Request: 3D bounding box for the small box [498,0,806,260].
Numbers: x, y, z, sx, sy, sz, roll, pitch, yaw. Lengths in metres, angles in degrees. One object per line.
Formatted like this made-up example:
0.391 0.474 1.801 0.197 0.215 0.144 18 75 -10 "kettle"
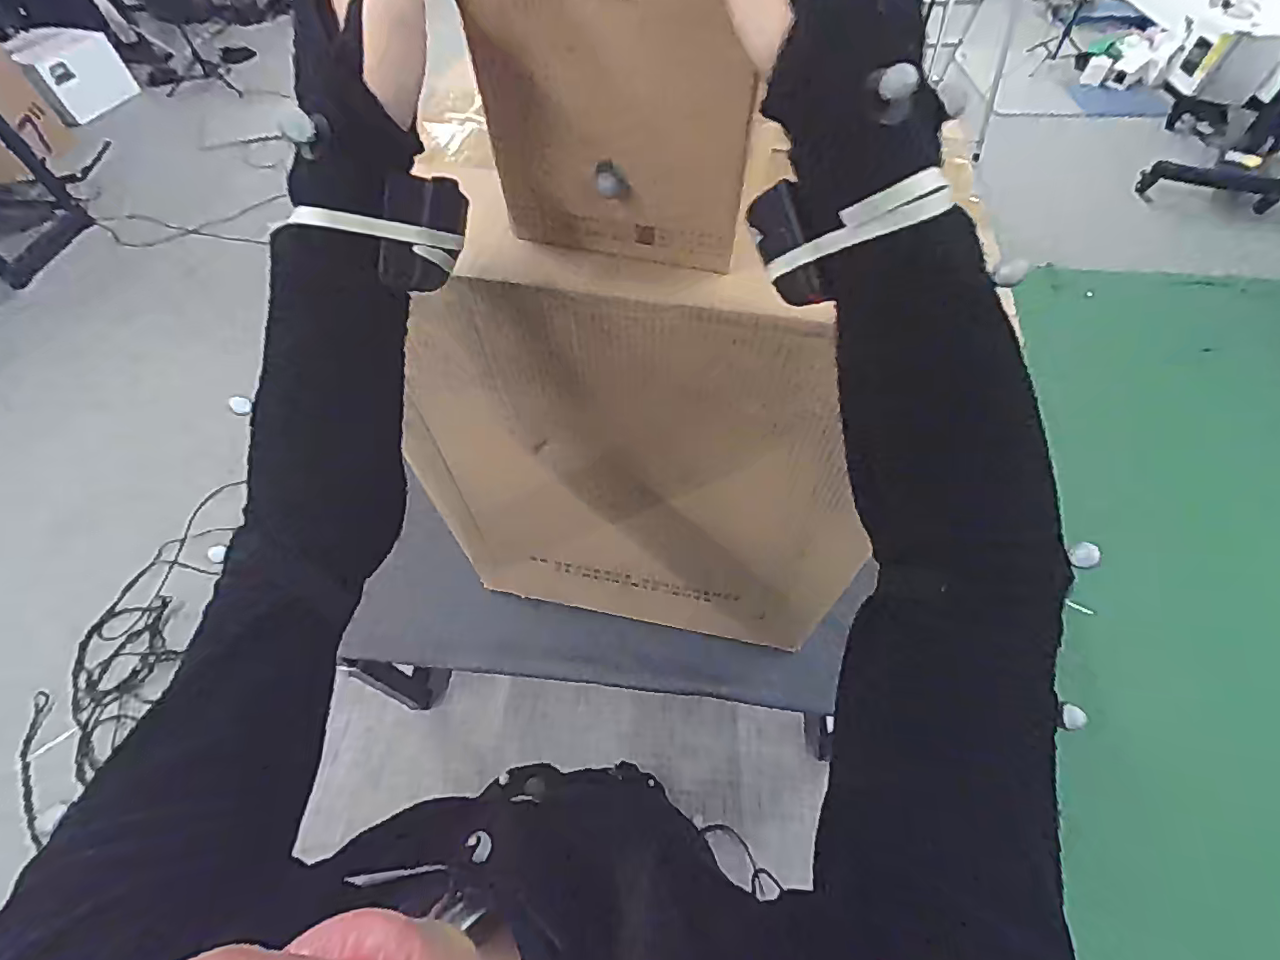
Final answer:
0.016 -0.285 0.370 0.168 0.176 0.179 13 59 9 "small box"
